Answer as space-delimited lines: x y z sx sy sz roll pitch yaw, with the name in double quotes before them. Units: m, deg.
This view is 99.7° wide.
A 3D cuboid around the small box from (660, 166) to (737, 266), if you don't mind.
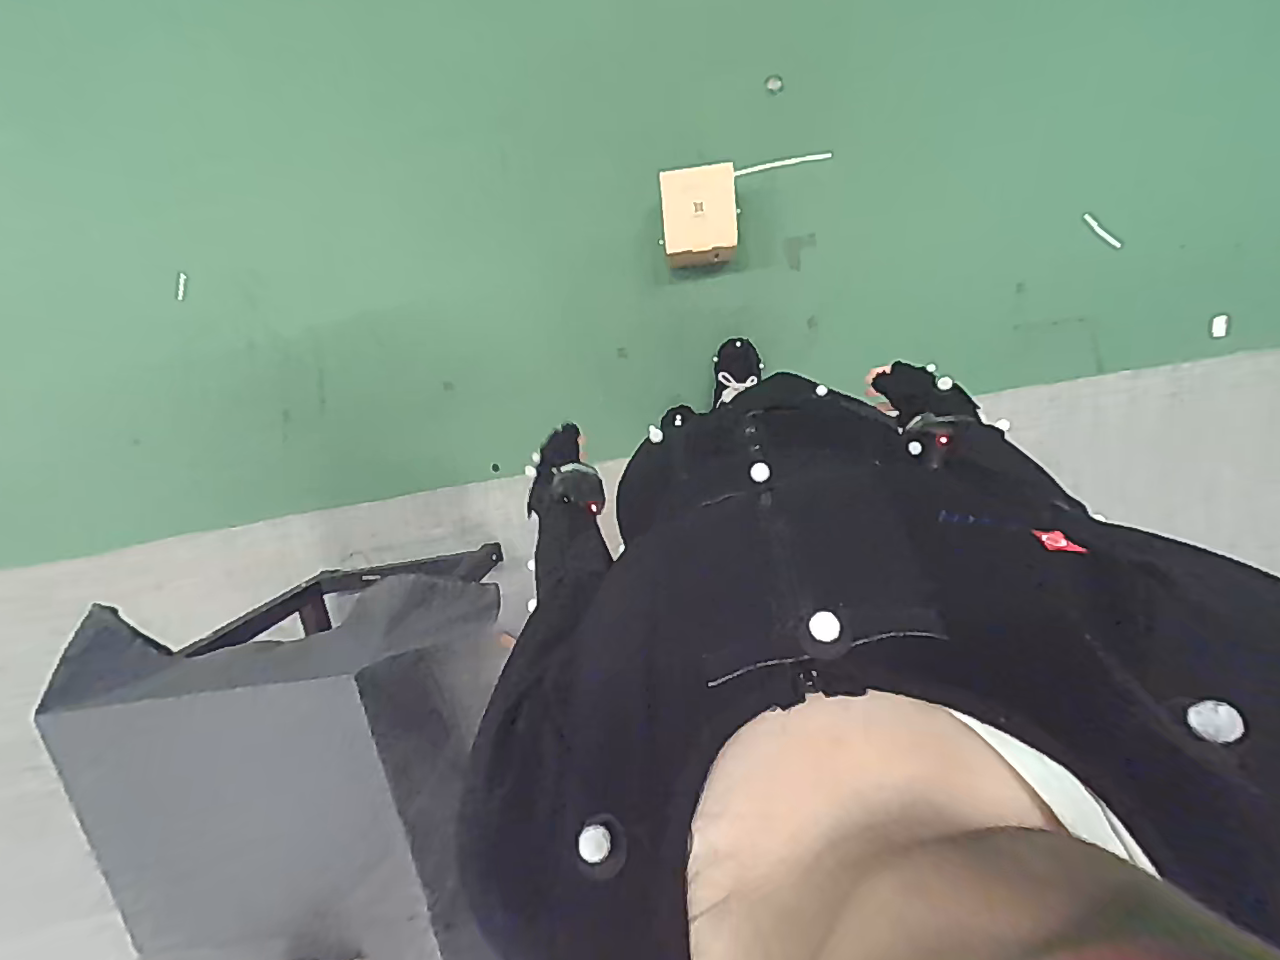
"small box" 0.140 -0.620 1.294 0.168 0.176 0.179 -5 100 6
